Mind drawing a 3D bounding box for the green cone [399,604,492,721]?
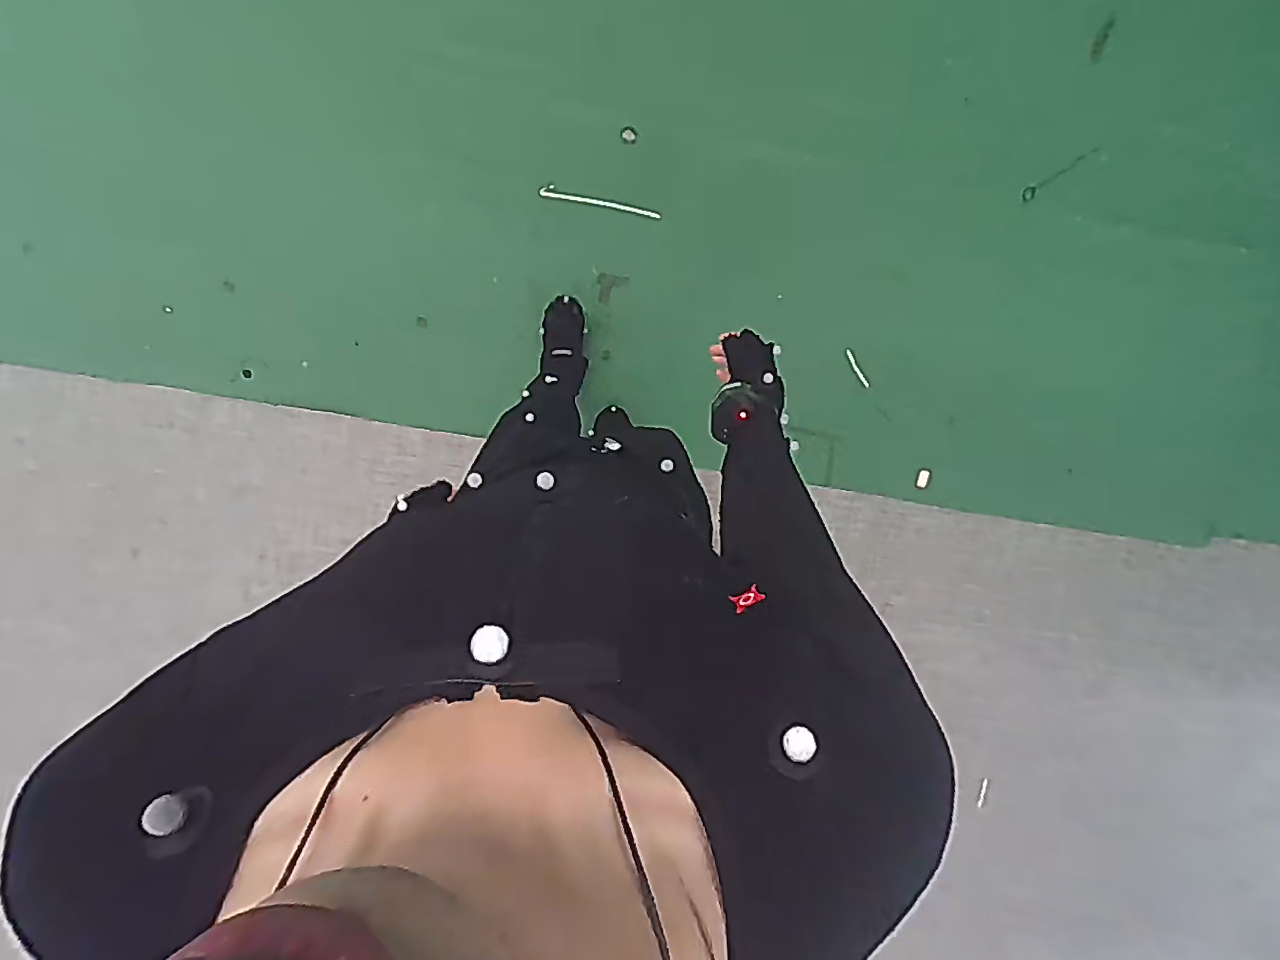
[{"bbox_3d":[-0.526,0.484,1.374,0.200,0.368,0.202,11,98,-4],"label":"green cone"}]
